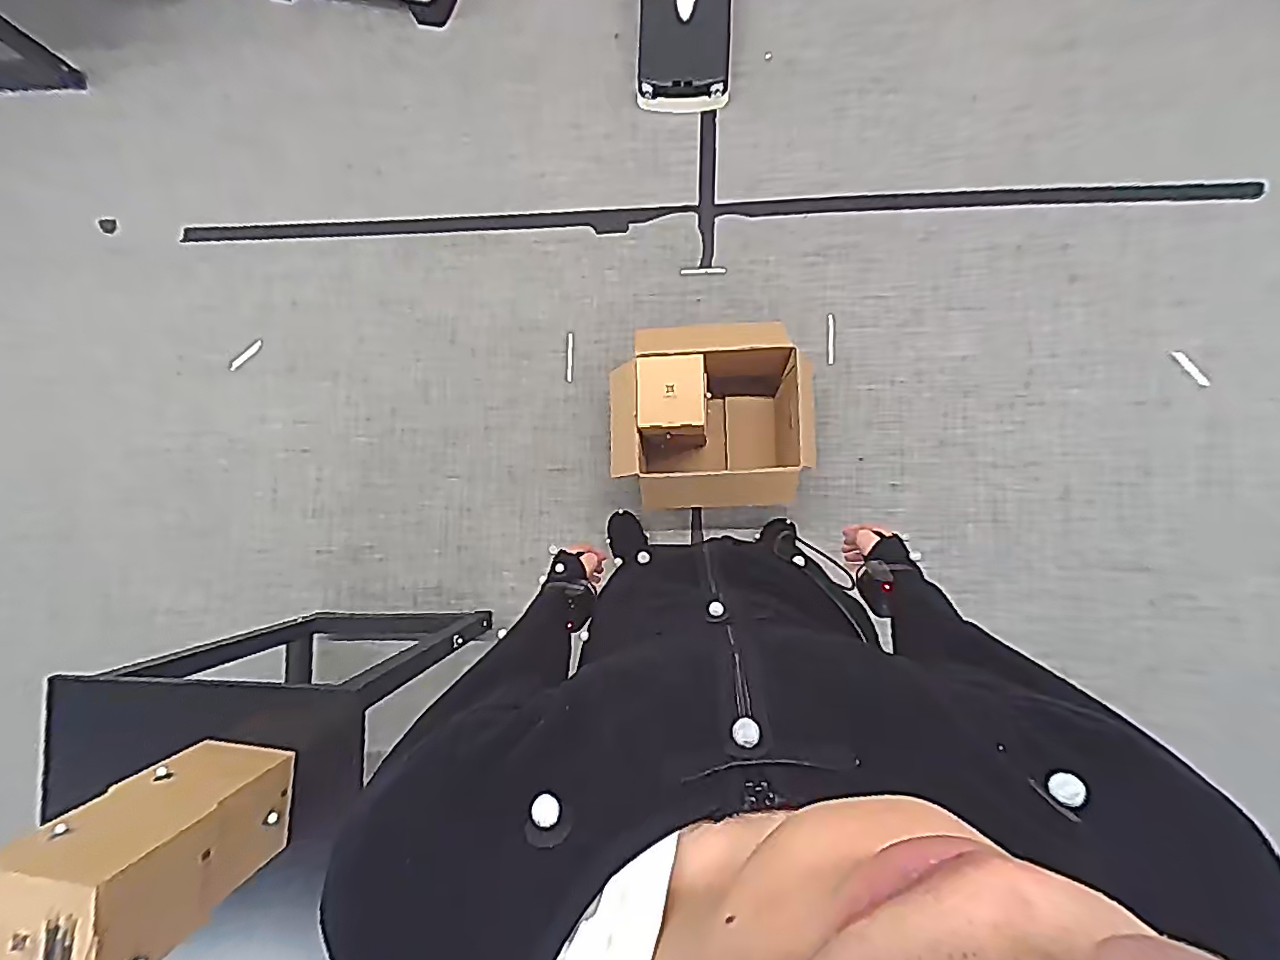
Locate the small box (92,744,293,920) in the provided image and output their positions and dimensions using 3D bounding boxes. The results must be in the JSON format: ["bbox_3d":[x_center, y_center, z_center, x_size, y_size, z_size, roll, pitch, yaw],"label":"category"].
[{"bbox_3d":[-0.706,0.548,0.869,0.179,0.176,0.168,5,89,5],"label":"small box"}]
